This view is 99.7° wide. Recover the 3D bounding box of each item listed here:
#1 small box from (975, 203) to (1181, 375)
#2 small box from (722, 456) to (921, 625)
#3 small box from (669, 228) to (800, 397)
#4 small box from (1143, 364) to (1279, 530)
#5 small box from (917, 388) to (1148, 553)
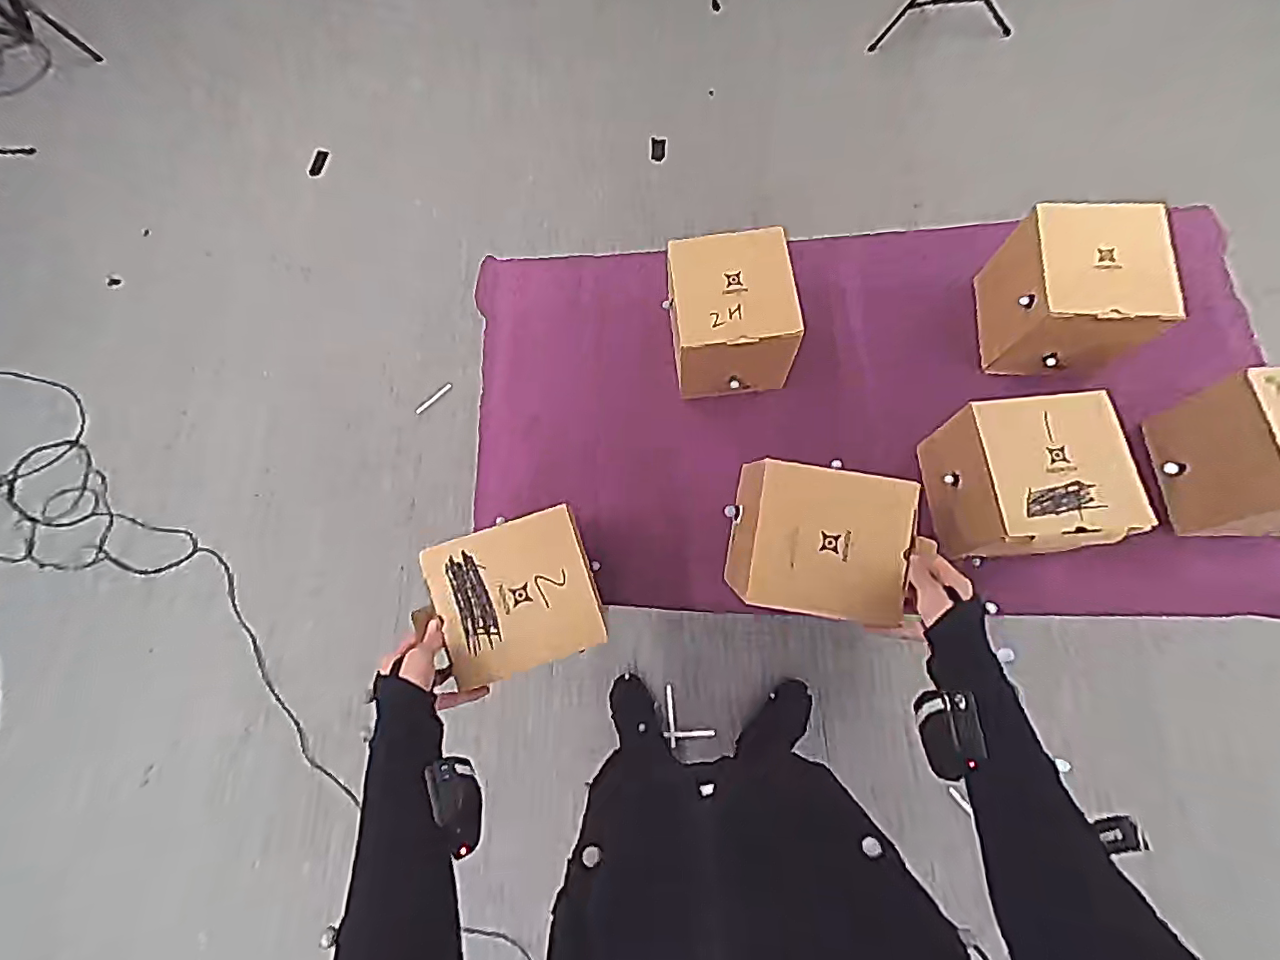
[{"bbox_3d":[0.619,-0.273,0.792,0.168,0.176,0.179,3,75,6],"label":"small box"},{"bbox_3d":[0.212,0.069,0.676,0.179,0.176,0.168,10,88,0],"label":"small box"},{"bbox_3d":[0.132,-0.247,0.823,0.168,0.176,0.179,-6,73,3],"label":"small box"},{"bbox_3d":[0.817,-0.034,0.698,0.168,0.176,0.179,-1,72,5],"label":"small box"},{"bbox_3d":[0.496,-0.001,0.717,0.168,0.176,0.179,-5,72,3],"label":"small box"}]
